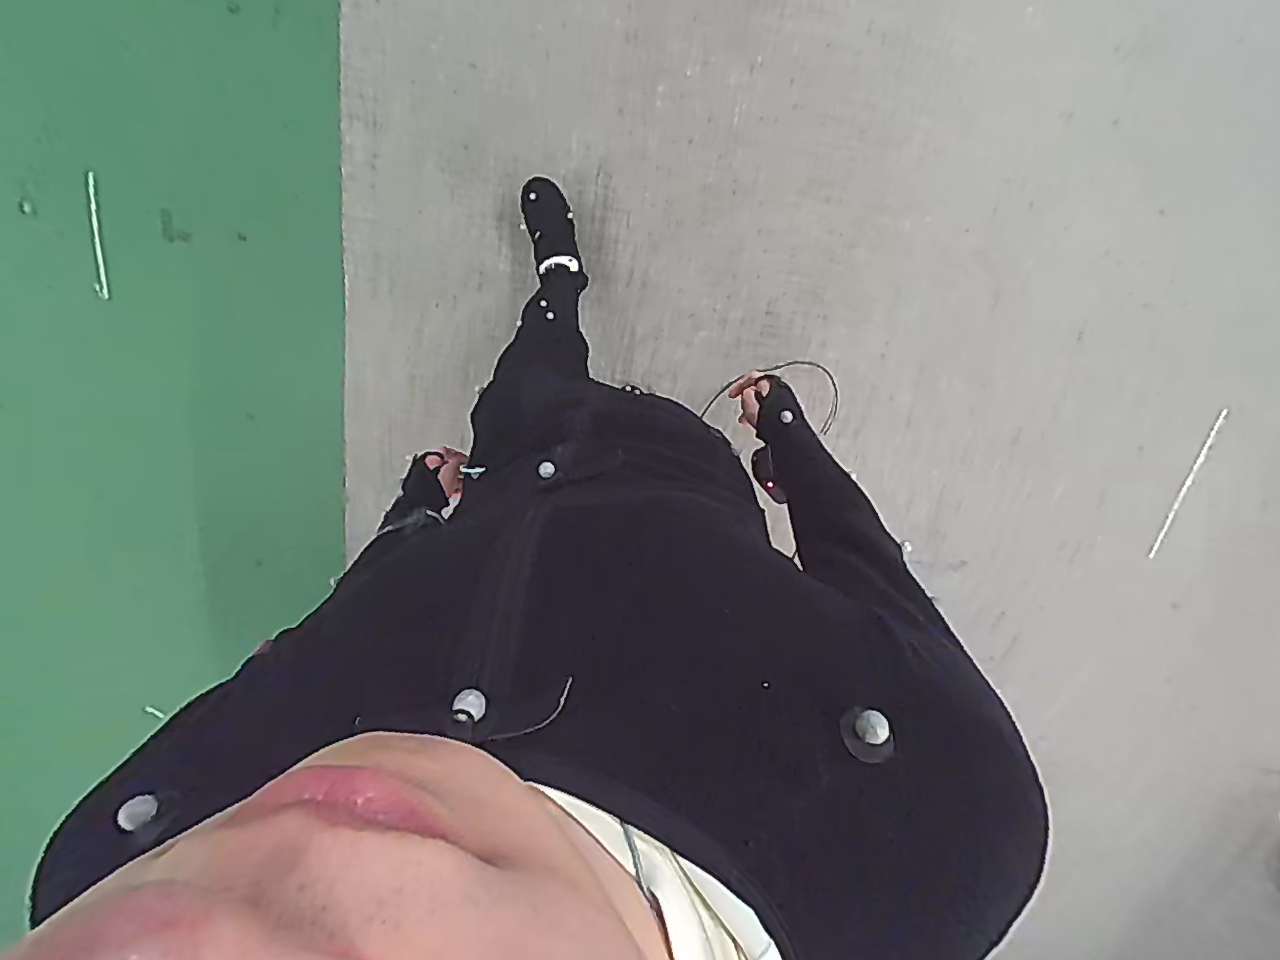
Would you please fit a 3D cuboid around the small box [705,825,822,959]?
[{"bbox_3d":[0.231,0.823,1.069,0.179,0.176,0.168,10,109,-2],"label":"small box"}]

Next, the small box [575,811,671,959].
[{"bbox_3d":[-0.033,0.783,1.057,0.168,0.176,0.179,5,110,-1],"label":"small box"}]
